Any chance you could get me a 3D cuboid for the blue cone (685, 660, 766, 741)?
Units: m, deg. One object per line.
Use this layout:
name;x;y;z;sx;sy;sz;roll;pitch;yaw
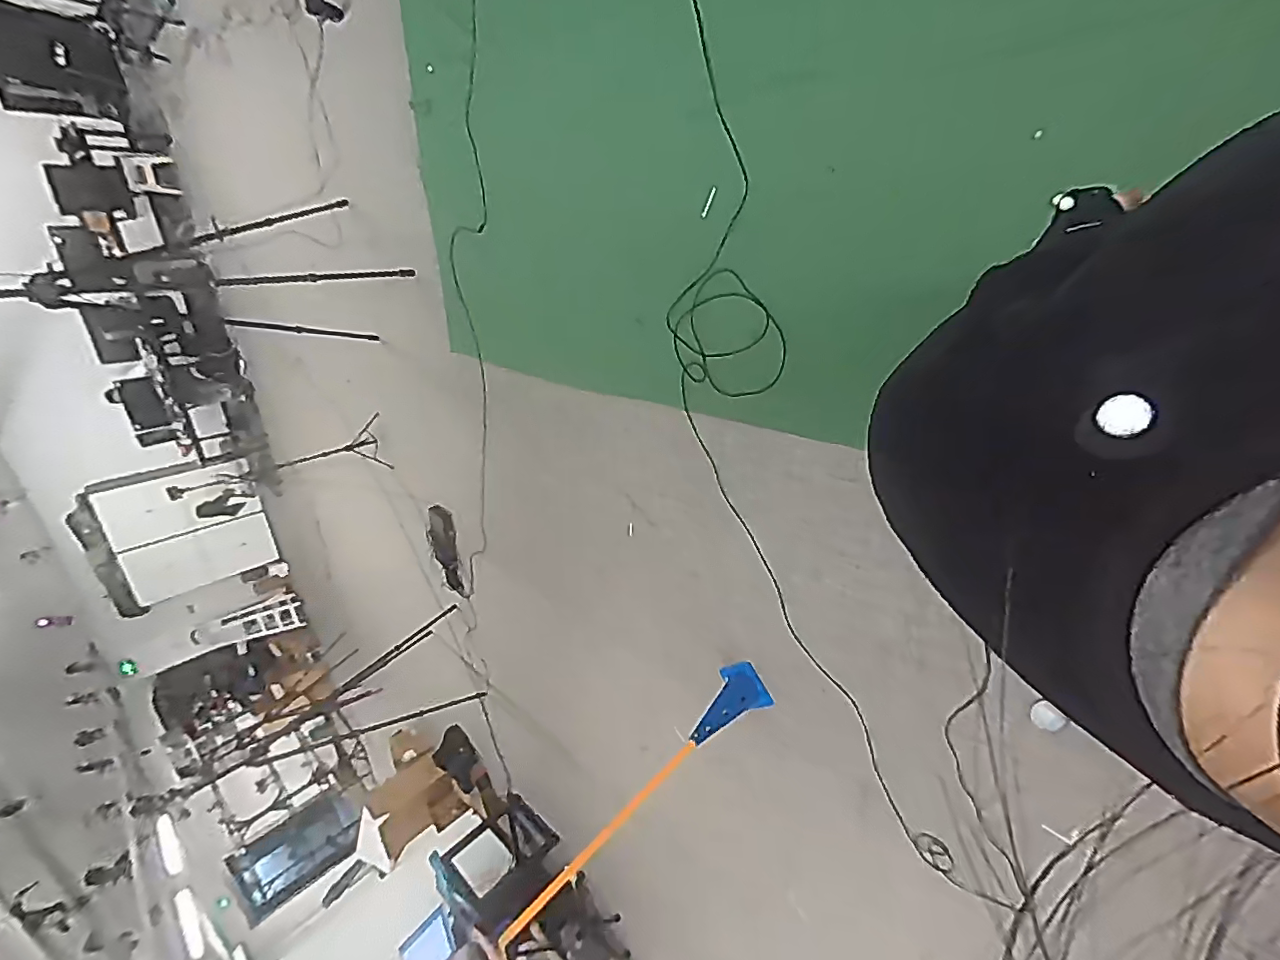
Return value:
blue cone;0.313;0.904;2.140;0.192;0.380;0.193;57;140;7
